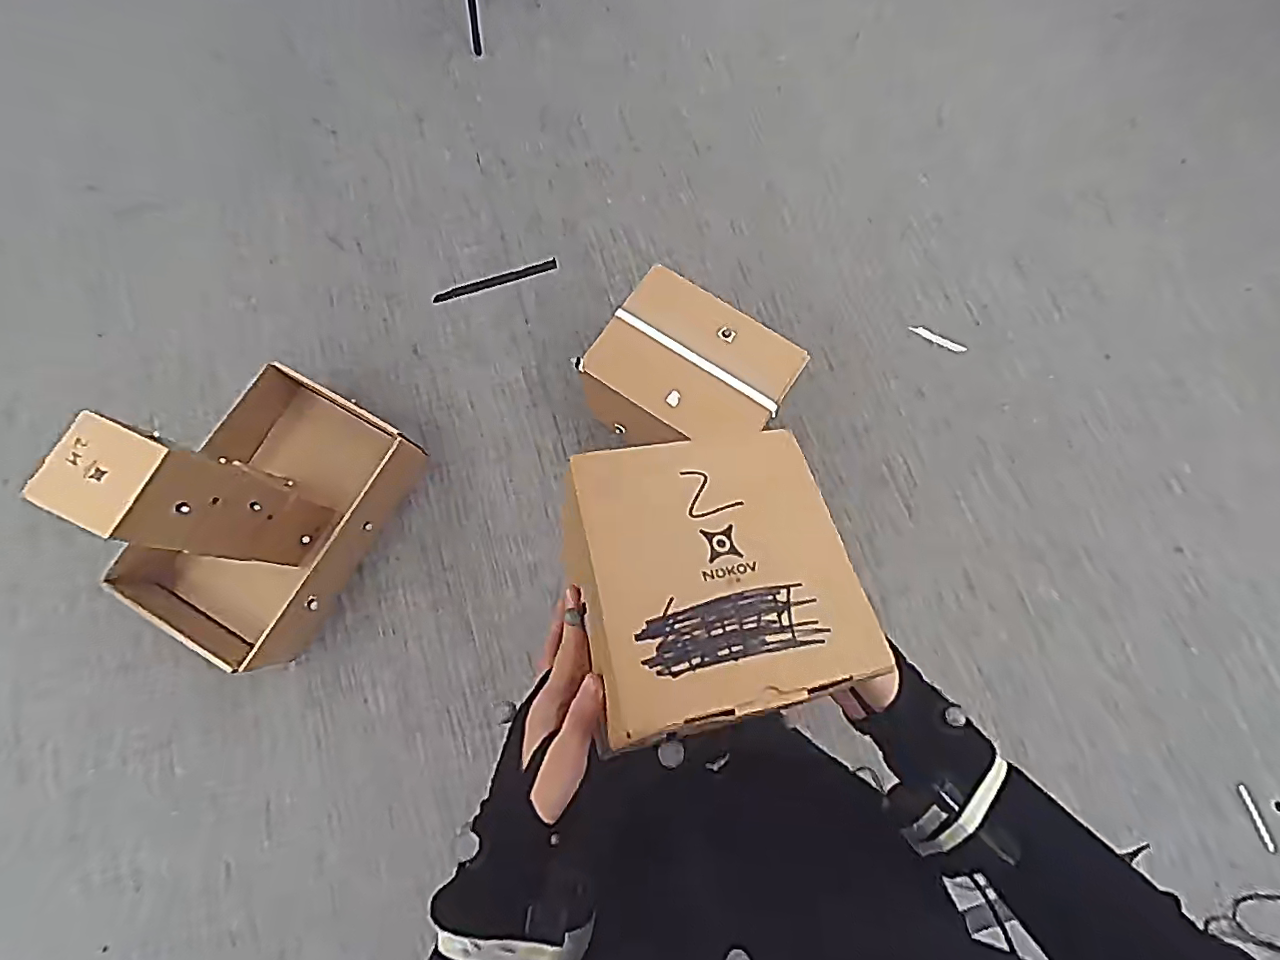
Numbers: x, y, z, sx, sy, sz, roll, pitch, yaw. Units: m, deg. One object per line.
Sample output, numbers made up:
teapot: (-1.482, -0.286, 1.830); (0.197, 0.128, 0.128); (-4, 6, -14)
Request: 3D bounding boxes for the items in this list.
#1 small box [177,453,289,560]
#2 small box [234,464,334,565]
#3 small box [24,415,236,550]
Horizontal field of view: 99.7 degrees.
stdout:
small box: (-0.881, 0.057, 1.115); (0.179, 0.176, 0.168); (24, 77, 7)
small box: (-0.876, 0.089, 1.273); (0.179, 0.176, 0.168); (29, 79, 6)
small box: (-0.878, 0.014, 0.954); (0.179, 0.176, 0.168); (24, 76, 5)
